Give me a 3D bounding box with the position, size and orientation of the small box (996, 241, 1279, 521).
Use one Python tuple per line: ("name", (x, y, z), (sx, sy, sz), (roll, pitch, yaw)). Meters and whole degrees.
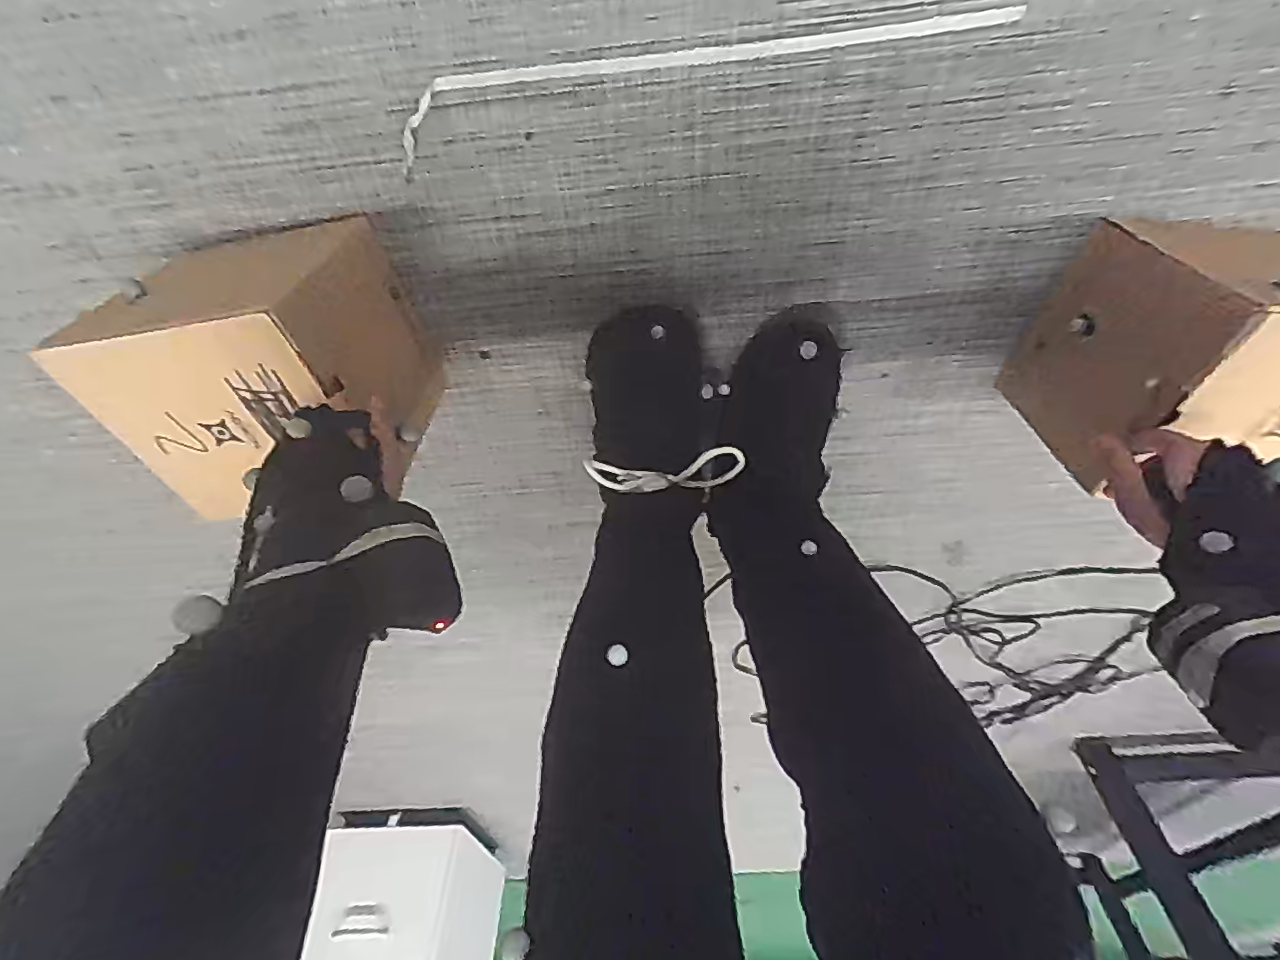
("small box", (0.458, -0.085, 0.456), (0.179, 0.176, 0.168), (4, 133, -3))
